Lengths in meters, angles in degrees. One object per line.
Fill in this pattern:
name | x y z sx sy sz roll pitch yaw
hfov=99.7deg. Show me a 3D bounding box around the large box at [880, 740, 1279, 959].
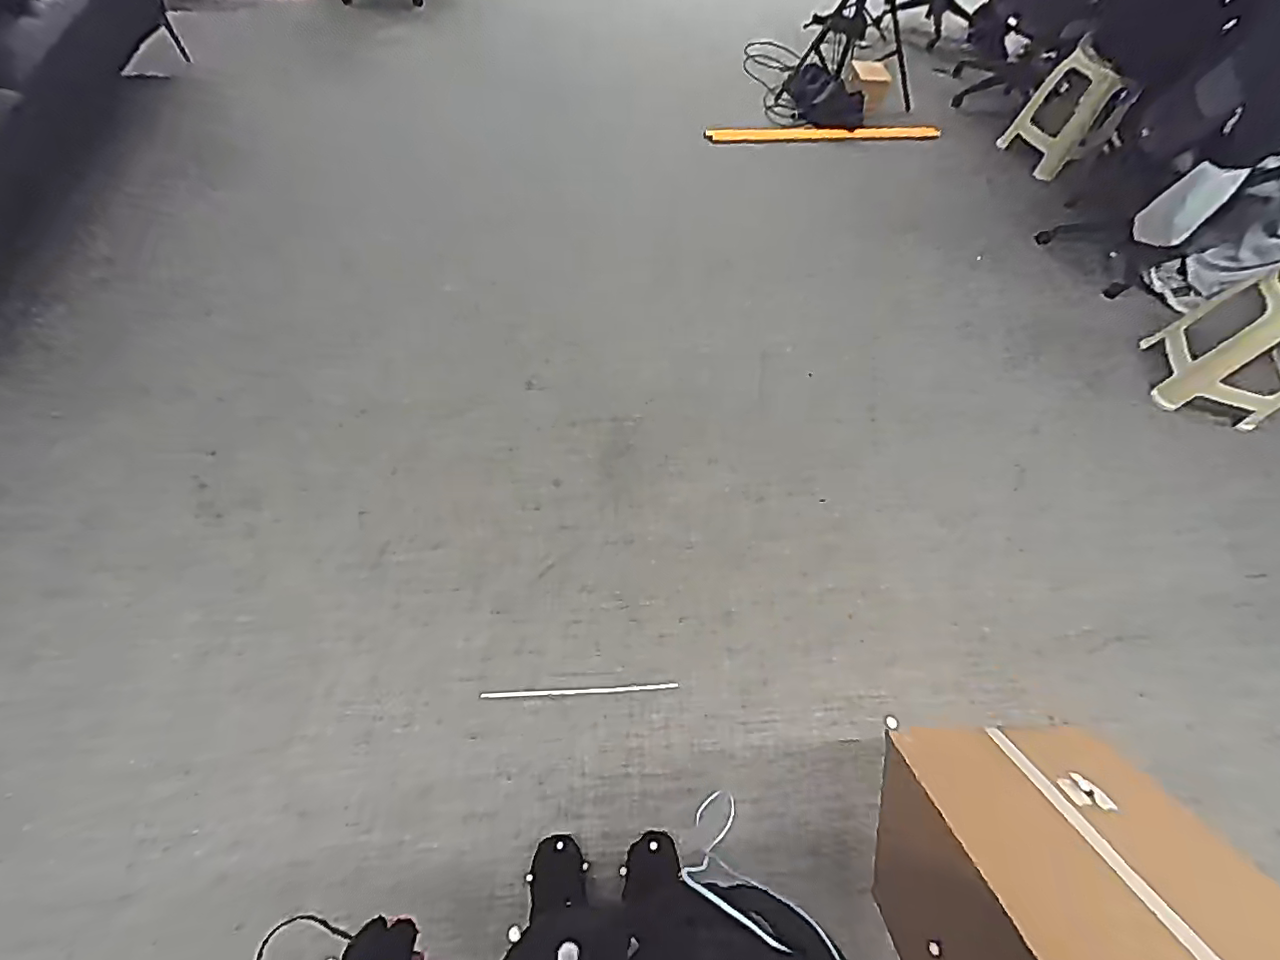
large box | 0.546 0.598 0.679 0.320 0.408 0.320 1 101 0
